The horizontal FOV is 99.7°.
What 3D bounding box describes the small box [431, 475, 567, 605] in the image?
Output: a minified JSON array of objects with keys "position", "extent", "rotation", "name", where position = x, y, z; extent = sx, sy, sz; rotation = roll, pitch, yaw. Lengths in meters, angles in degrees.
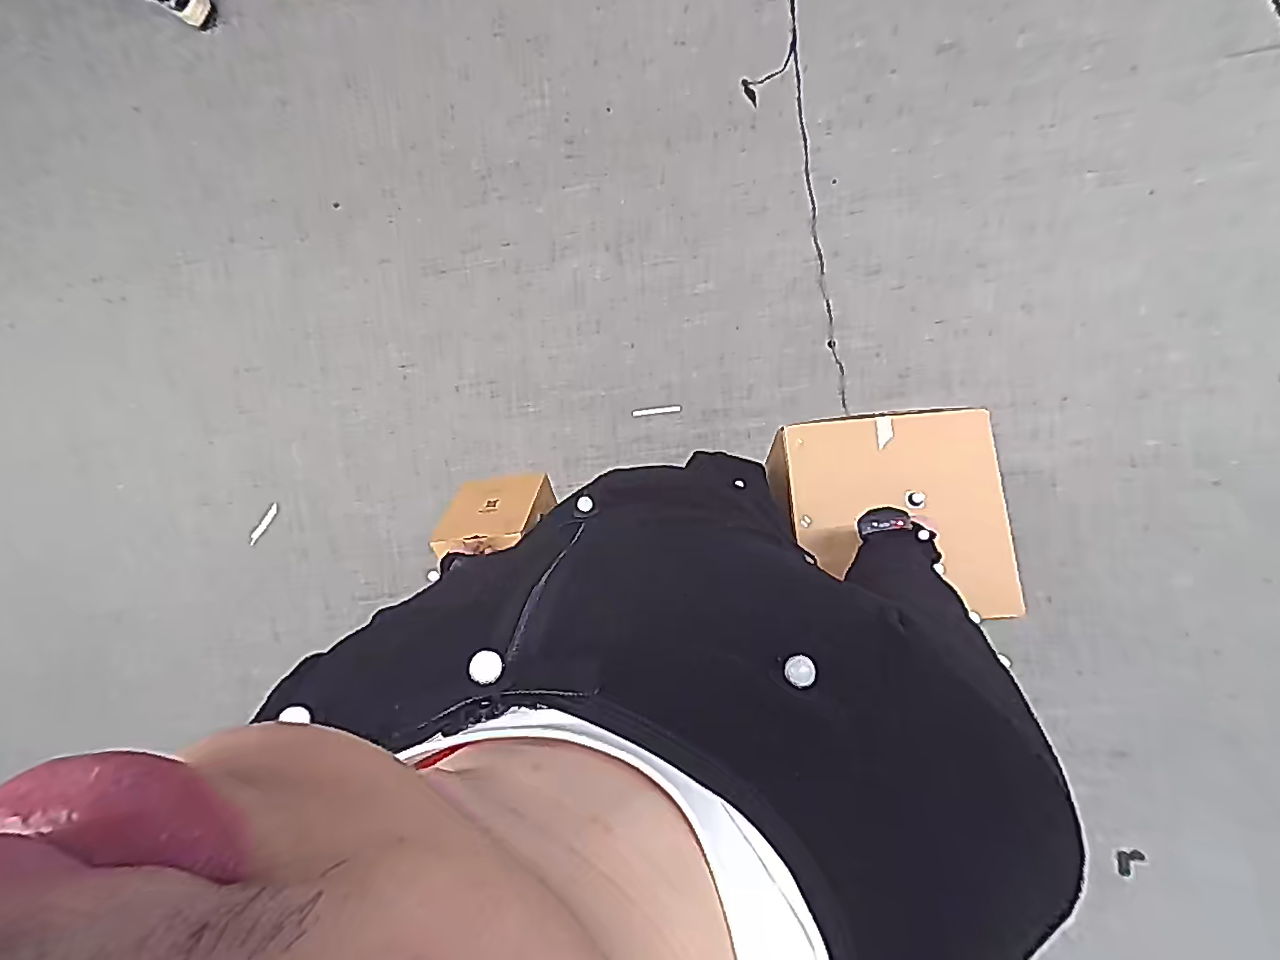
[{"position":[-0.244,0.114,0.991],"extent":[0.168,0.179,0.176],"rotation":[-7,124,11],"name":"small box"}]
